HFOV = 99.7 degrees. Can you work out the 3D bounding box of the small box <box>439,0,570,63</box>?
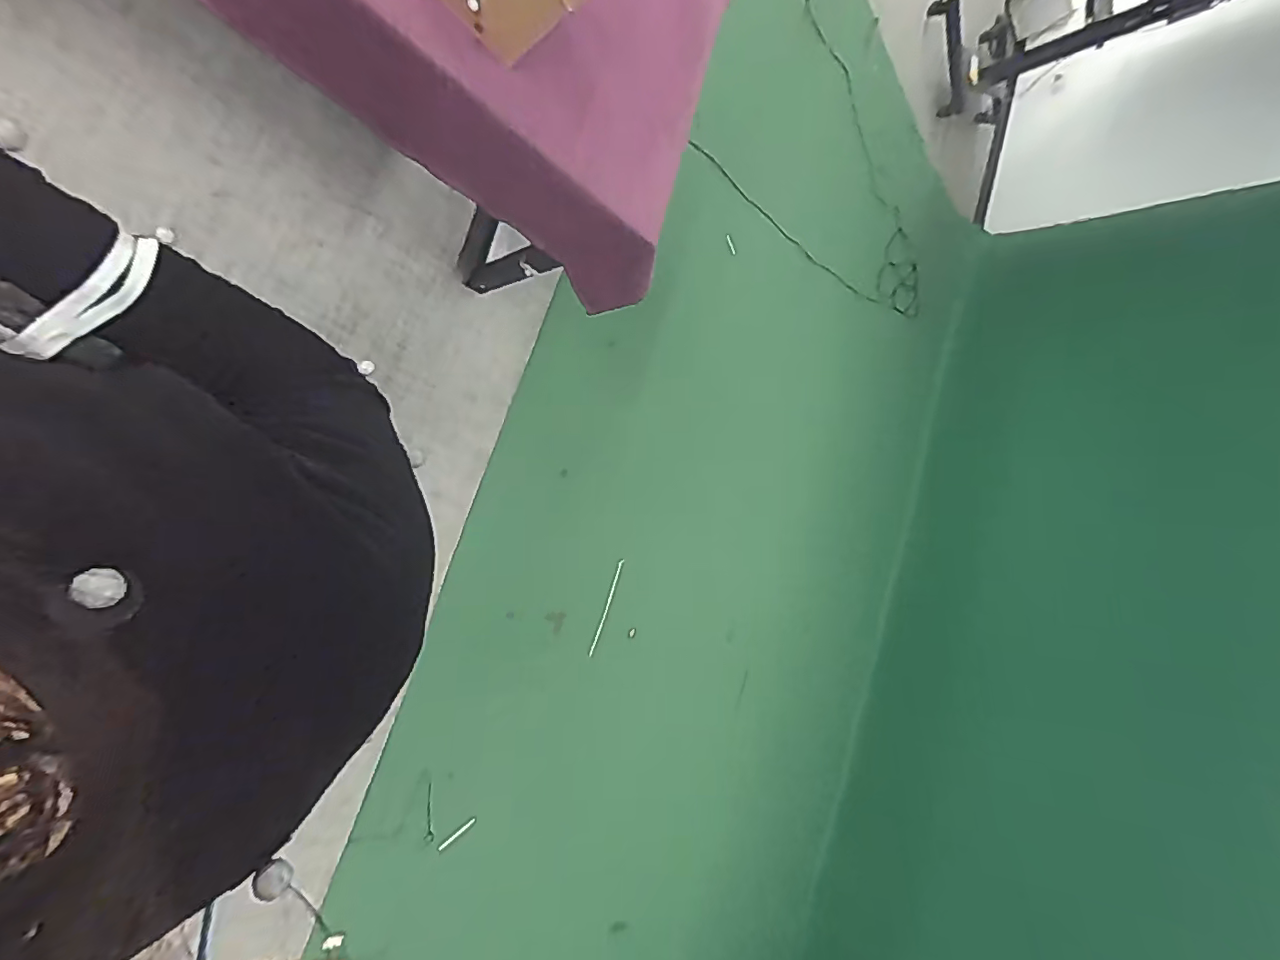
[{"bbox_3d":[-0.175,-0.720,0.715,0.168,0.176,0.179,26,79,-41],"label":"small box"}]
